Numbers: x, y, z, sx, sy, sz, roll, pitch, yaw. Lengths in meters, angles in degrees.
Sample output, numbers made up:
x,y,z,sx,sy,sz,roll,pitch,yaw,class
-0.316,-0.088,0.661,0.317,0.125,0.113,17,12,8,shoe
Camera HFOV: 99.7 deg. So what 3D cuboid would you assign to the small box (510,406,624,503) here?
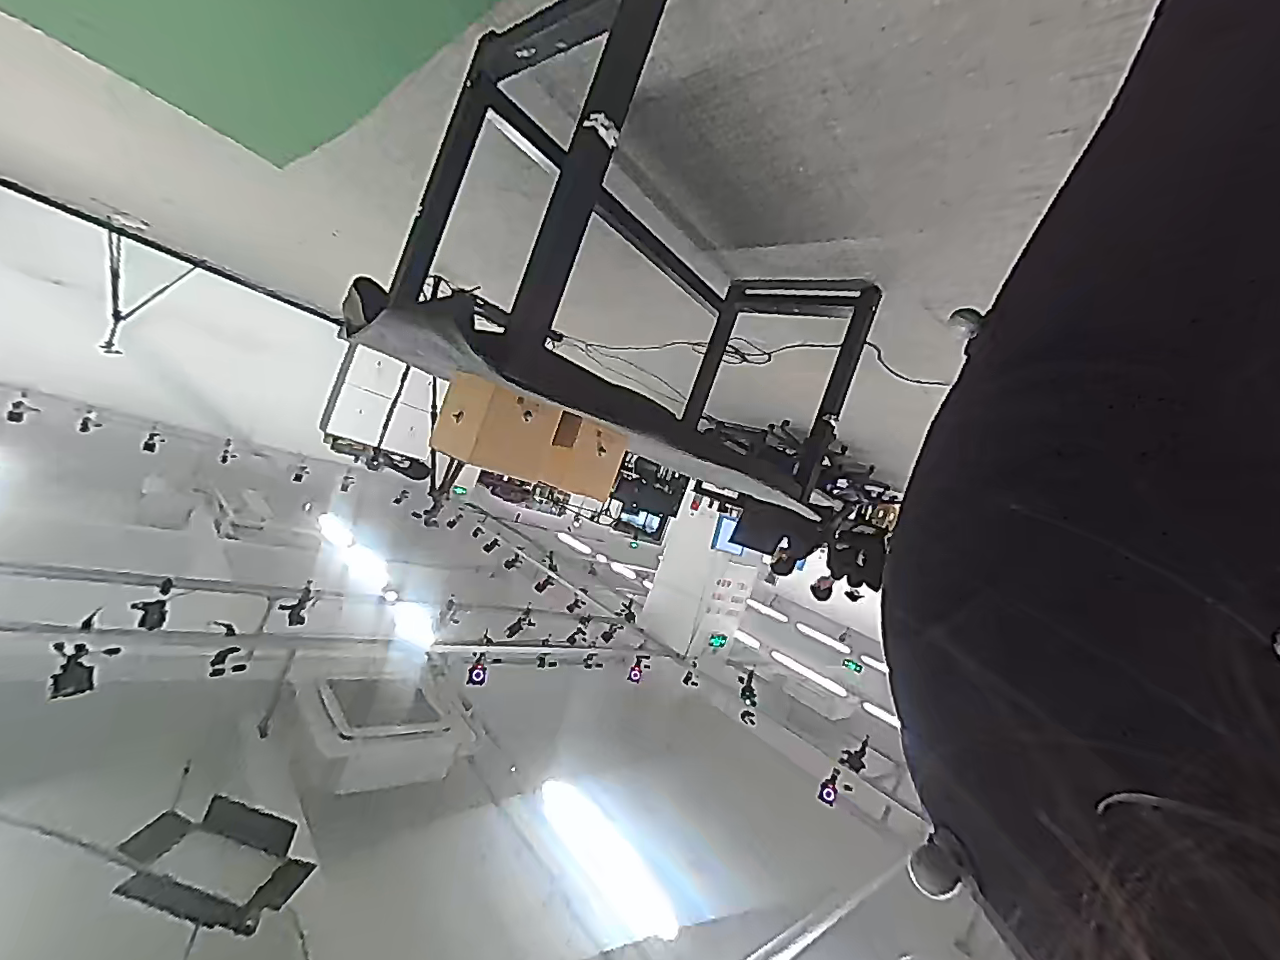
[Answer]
x,y,z,sx,sy,sz,roll,pitch,yaw,class
-0.167,-0.064,1.268,0.179,0.176,0.168,19,180,39,small box
